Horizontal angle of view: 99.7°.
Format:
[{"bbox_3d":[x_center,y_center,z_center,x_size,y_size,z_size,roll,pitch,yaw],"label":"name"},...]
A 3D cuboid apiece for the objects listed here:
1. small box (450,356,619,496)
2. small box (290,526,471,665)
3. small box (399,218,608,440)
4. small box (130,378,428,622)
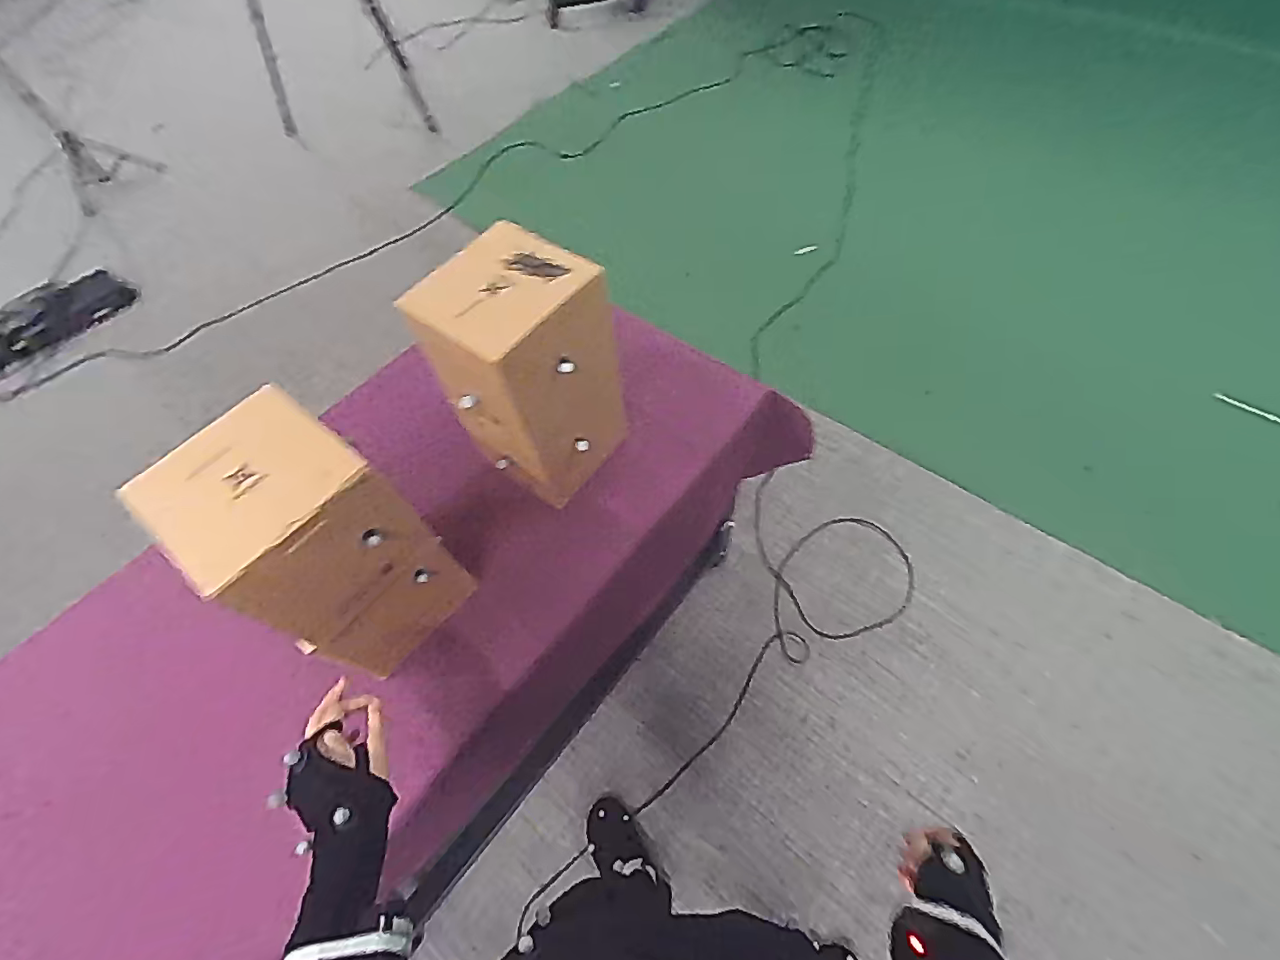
[{"bbox_3d":[-0.146,-0.106,0.828,0.168,0.176,0.179,31,68,20],"label":"small box"},{"bbox_3d":[-0.358,0.117,0.718,0.168,0.176,0.179,35,67,22],"label":"small box"},{"bbox_3d":[-0.155,-0.187,0.684,0.168,0.176,0.179,32,68,21],"label":"small box"},{"bbox_3d":[-0.365,0.030,0.581,0.179,0.176,0.168,33,66,22],"label":"small box"}]
